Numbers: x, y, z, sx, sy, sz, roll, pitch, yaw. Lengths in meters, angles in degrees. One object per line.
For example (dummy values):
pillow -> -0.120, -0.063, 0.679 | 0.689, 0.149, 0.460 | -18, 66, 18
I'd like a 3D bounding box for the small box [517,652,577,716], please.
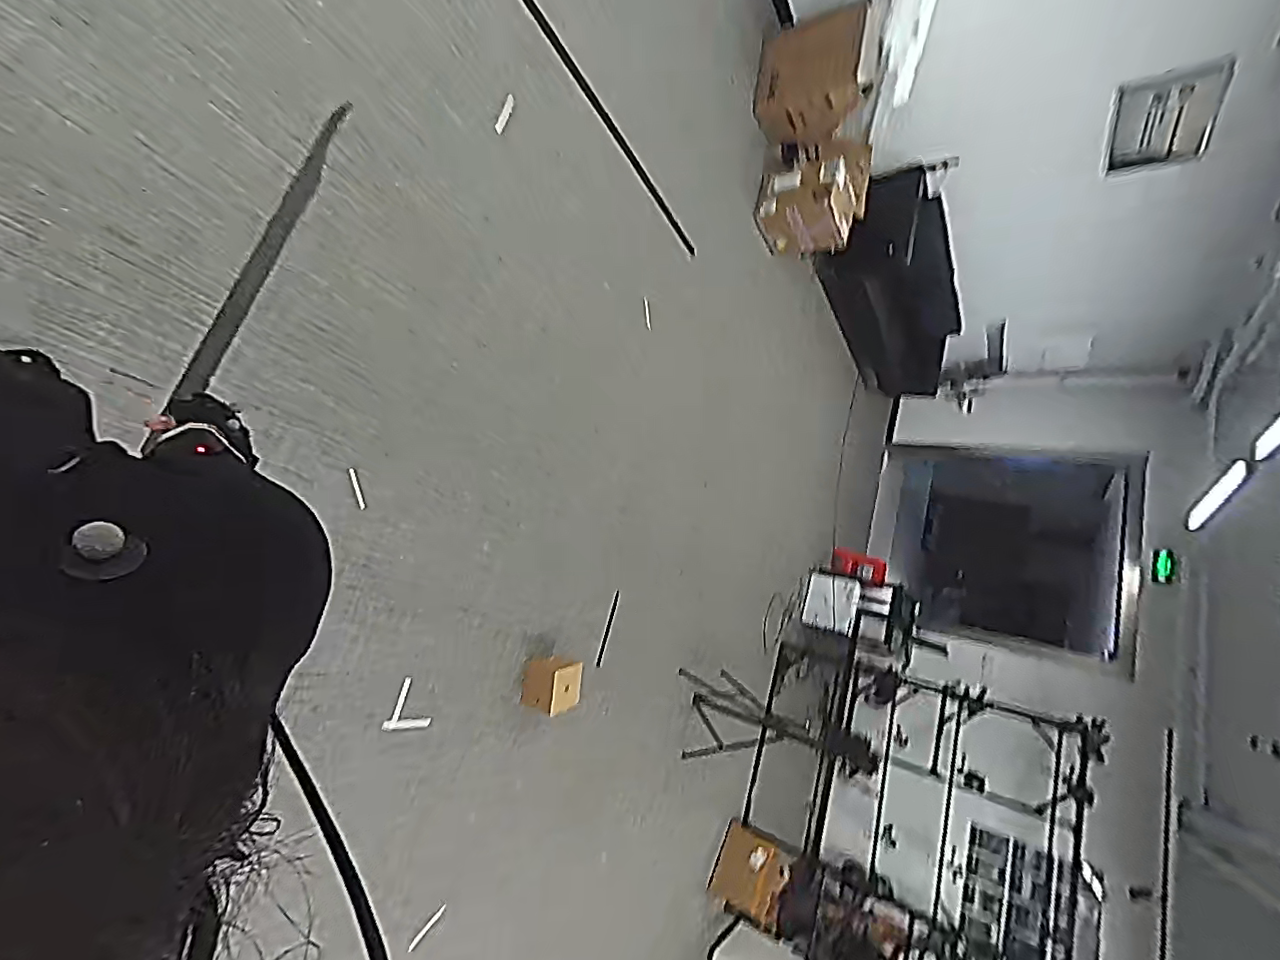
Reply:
small box -> -0.375, 0.810, 2.164 | 0.168, 0.176, 0.179 | 4, 91, -55
